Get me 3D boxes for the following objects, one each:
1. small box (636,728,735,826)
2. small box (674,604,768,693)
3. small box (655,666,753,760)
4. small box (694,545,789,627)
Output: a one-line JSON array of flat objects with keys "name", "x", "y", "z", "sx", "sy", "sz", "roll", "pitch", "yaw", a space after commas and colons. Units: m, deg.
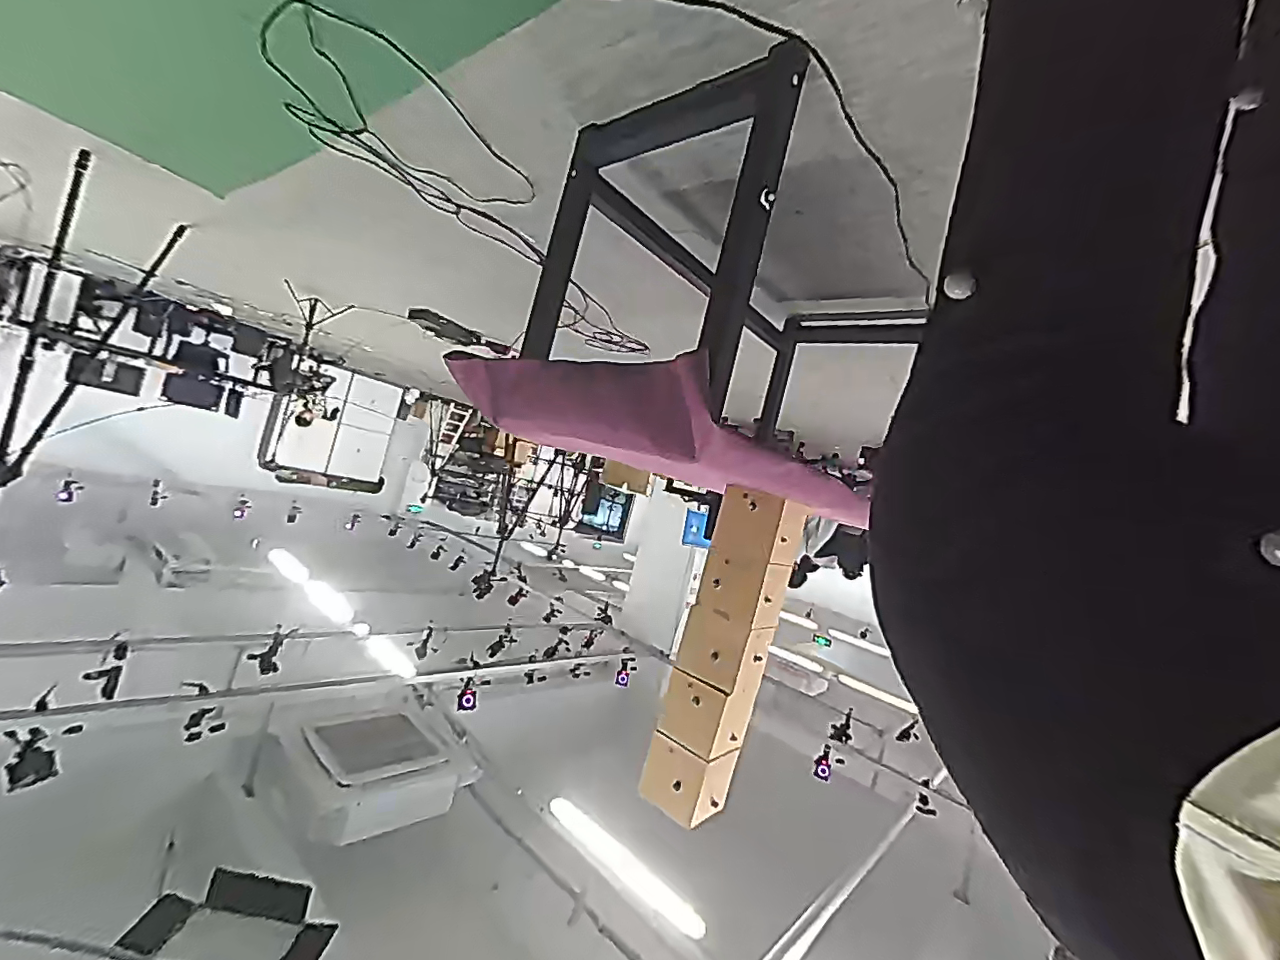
[{"name": "small box", "x": 0.120, "y": 0.736, "z": 1.388, "sx": 0.168, "sy": 0.176, "sz": 0.179, "roll": 15, "pitch": 179, "yaw": 38}, {"name": "small box", "x": 0.217, "y": 0.424, "z": 1.397, "sx": 0.179, "sy": 0.176, "sz": 0.168, "roll": 14, "pitch": 178, "yaw": 37}, {"name": "small box", "x": 0.170, "y": 0.582, "z": 1.395, "sx": 0.168, "sy": 0.176, "sz": 0.179, "roll": 15, "pitch": 178, "yaw": 39}, {"name": "small box", "x": 0.266, "y": 0.269, "z": 1.397, "sx": 0.168, "sy": 0.176, "sz": 0.179, "roll": 15, "pitch": 179, "yaw": 36}]
